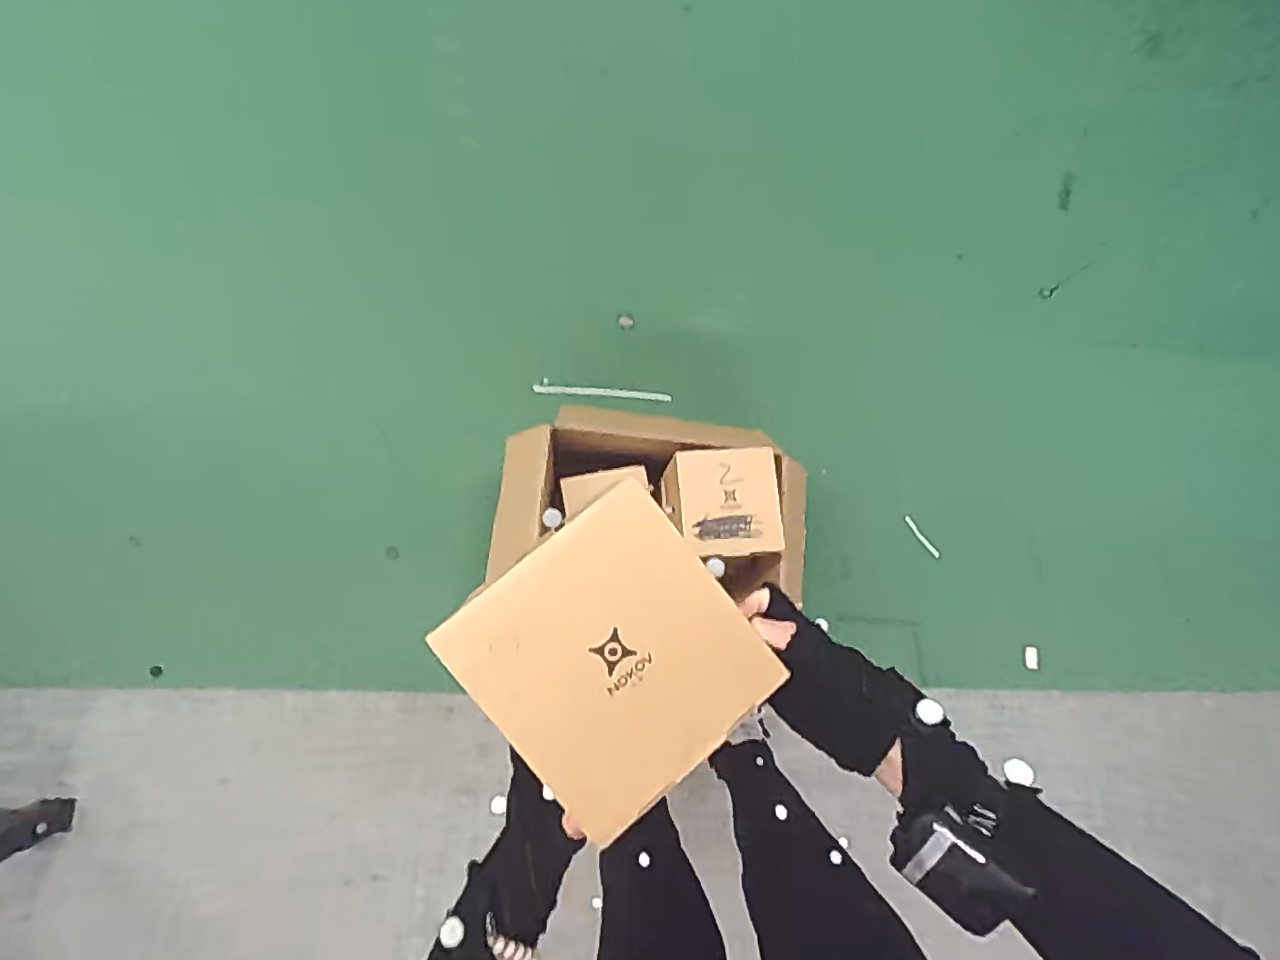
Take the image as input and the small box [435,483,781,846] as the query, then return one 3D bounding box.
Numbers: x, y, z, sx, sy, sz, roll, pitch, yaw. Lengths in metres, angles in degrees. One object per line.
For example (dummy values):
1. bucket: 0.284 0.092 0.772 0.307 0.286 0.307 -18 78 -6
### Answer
1. small box: -0.031 0.123 0.430 0.168 0.176 0.179 -38 94 -11
